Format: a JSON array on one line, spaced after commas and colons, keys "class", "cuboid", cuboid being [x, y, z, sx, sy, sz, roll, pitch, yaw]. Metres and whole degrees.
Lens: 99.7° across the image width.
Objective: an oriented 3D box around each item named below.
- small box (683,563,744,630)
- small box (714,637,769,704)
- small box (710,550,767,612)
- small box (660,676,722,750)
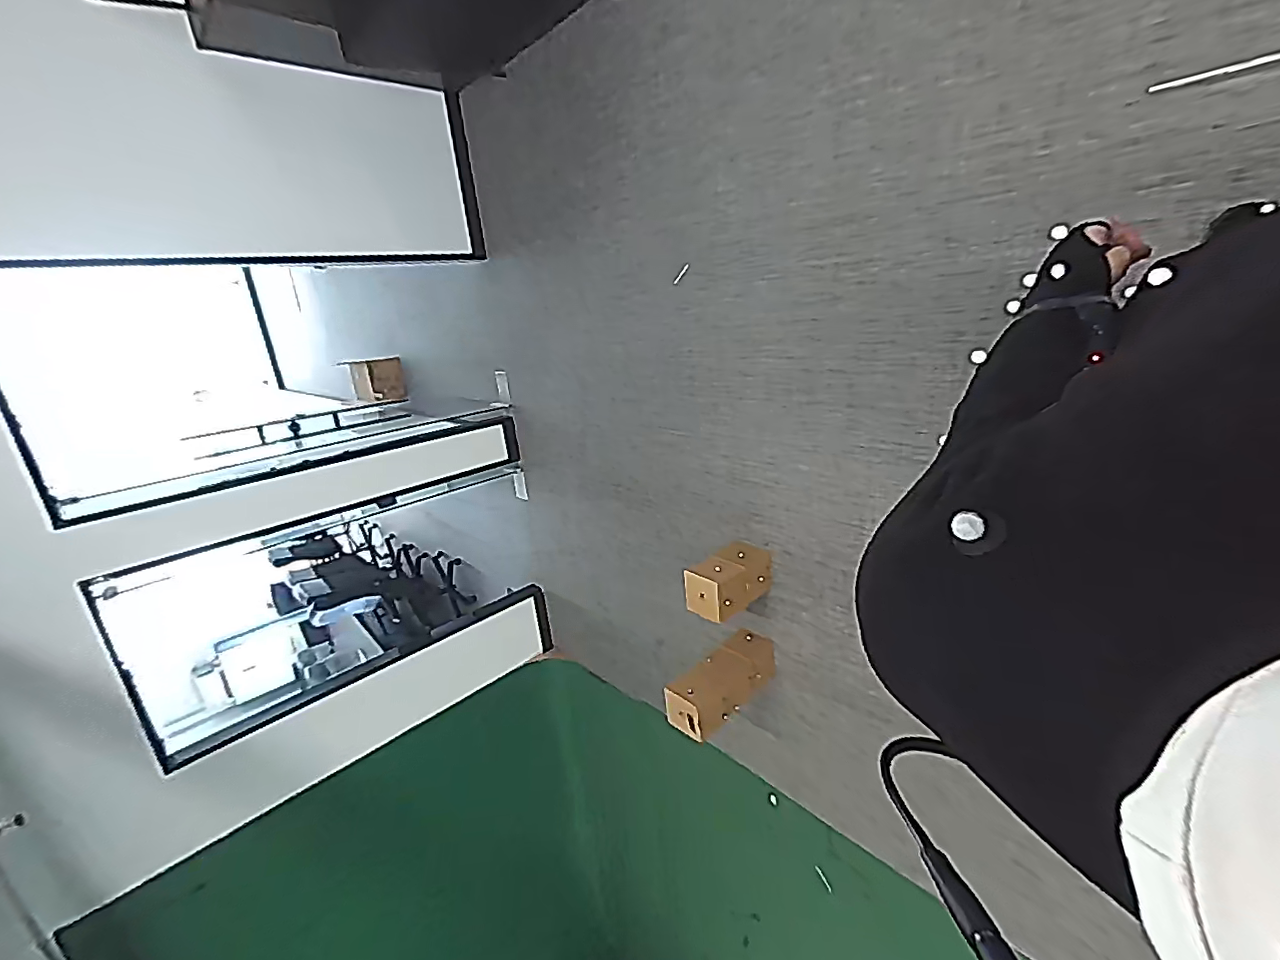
[{"class": "small box", "cuboid": [0.282, 0.437, 2.063, 0.168, 0.176, 0.179, 13, 115, 46]}, {"class": "small box", "cuboid": [0.433, 0.798, 2.286, 0.168, 0.176, 0.179, 13, 114, 46]}, {"class": "small box", "cuboid": [0.396, 0.399, 2.172, 0.179, 0.176, 0.168, 15, 115, 44]}, {"class": "small box", "cuboid": [0.202, 0.884, 2.069, 0.179, 0.176, 0.168, 12, 113, 47]}]
